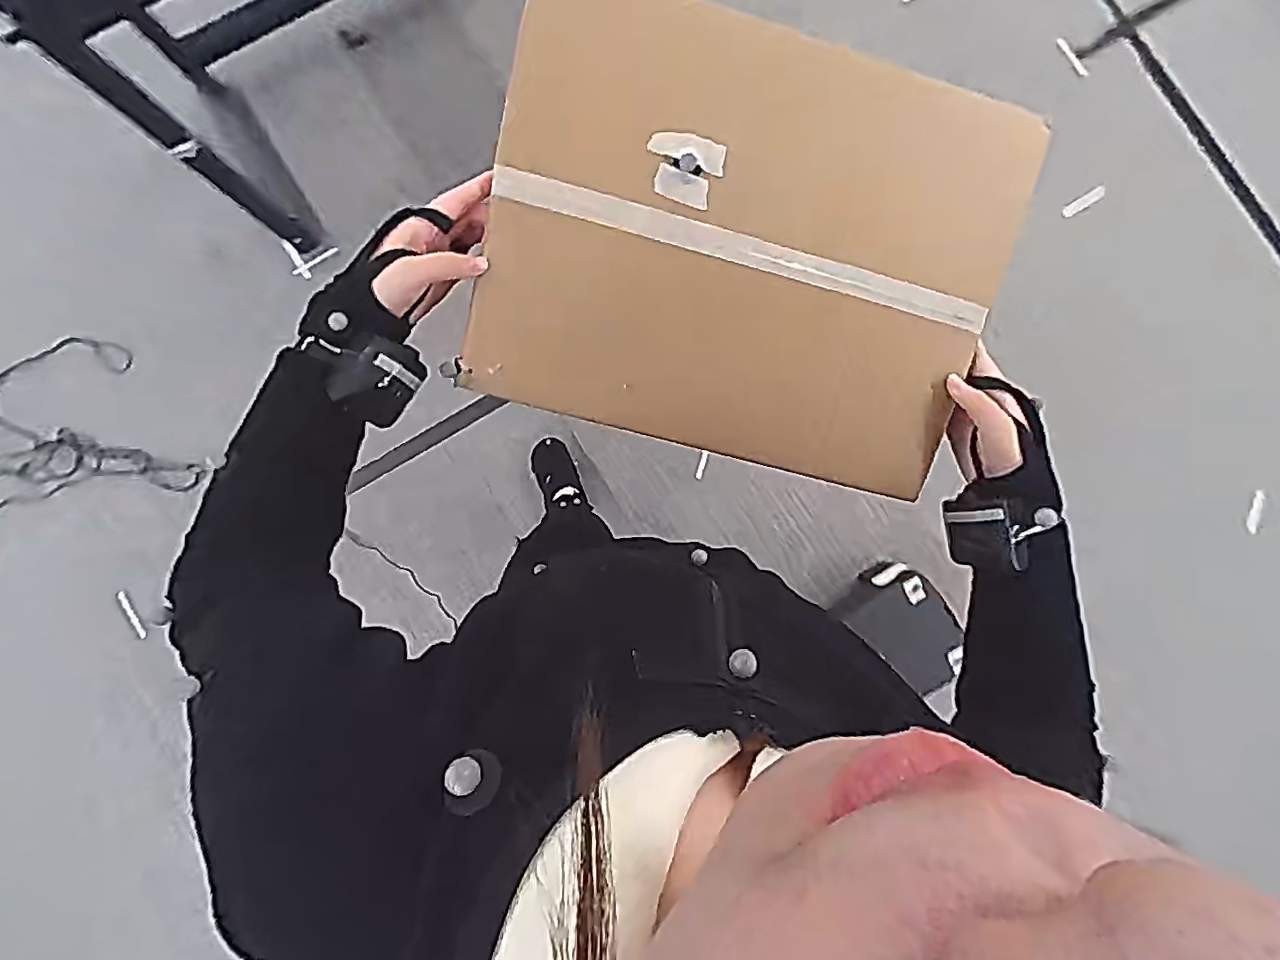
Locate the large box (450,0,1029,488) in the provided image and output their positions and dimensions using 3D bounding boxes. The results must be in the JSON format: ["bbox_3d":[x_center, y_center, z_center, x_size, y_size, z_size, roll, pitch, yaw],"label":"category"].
[{"bbox_3d":[0.067,-0.206,0.567,0.408,0.320,0.320,13,100,-5],"label":"large box"}]
